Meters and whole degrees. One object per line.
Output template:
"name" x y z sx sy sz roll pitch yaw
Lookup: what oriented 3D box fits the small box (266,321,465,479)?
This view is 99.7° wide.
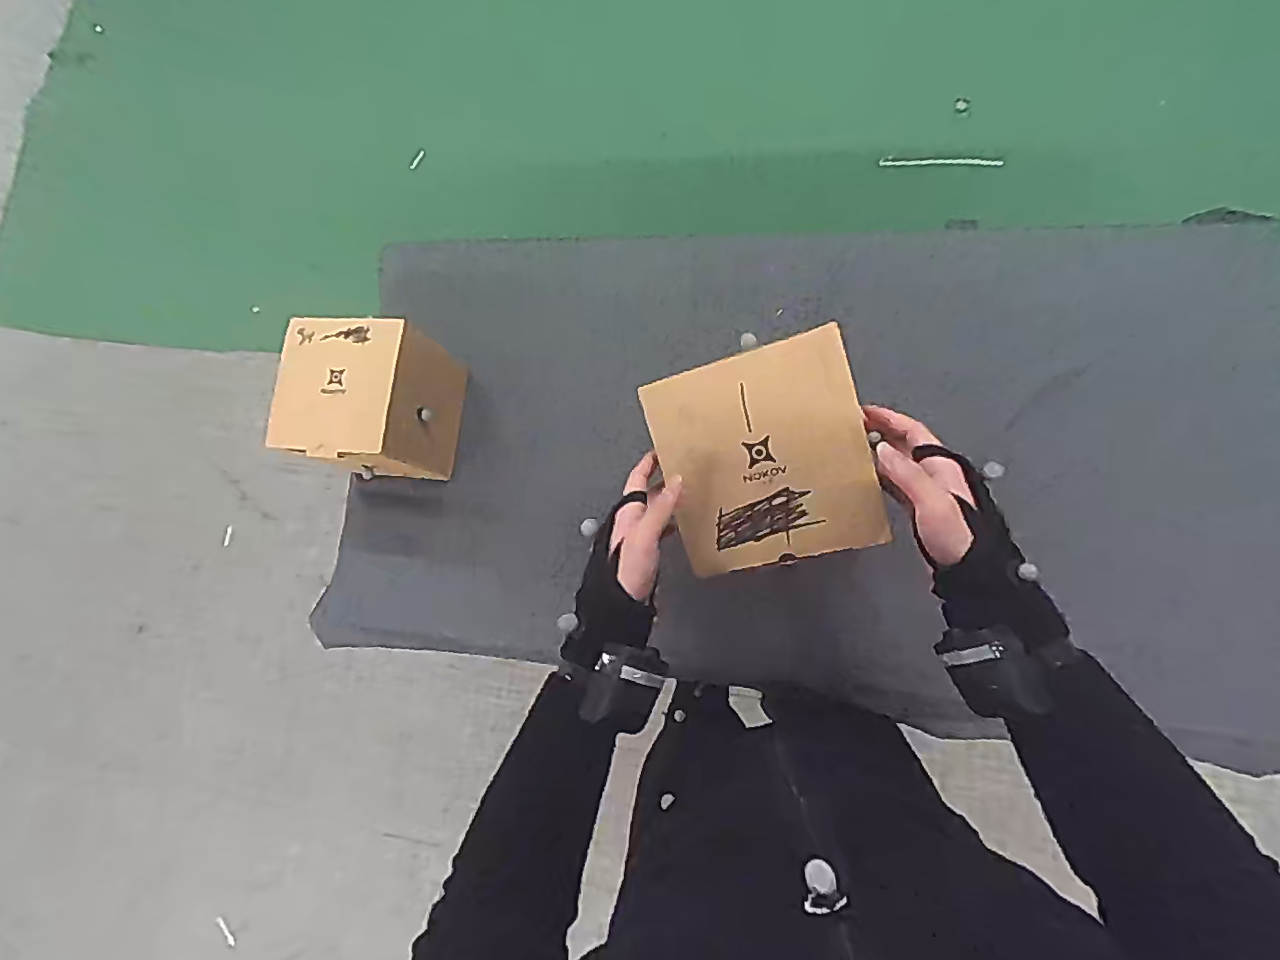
"small box" -0.360 -0.100 0.740 0.168 0.176 0.179 4 82 10
